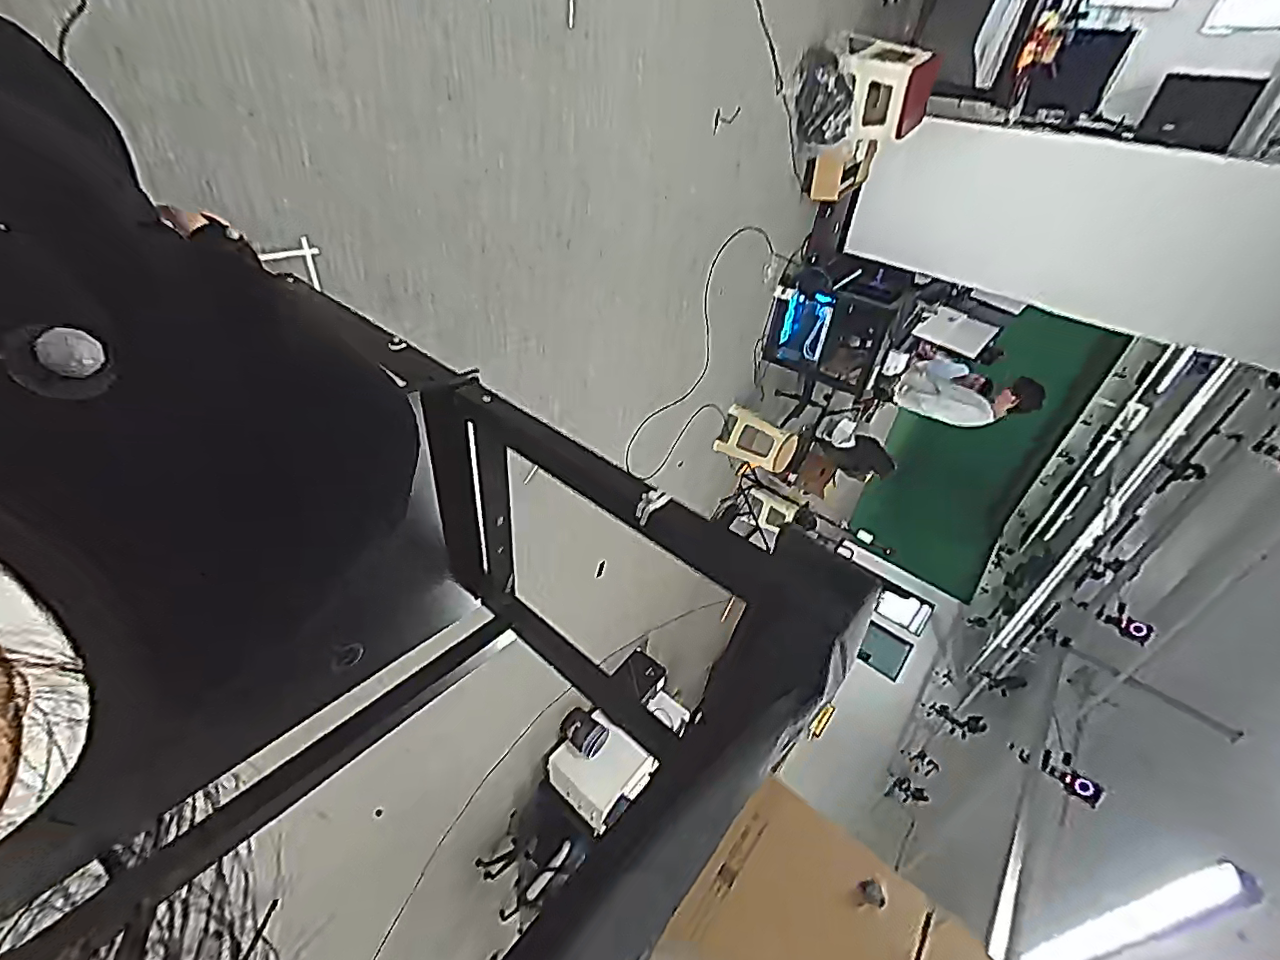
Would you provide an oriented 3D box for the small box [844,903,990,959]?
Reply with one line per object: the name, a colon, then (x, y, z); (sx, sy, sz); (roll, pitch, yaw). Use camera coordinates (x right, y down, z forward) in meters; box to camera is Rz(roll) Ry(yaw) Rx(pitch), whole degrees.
small box: (0.245, 0.498, 0.437); (0.168, 0.176, 0.179); (-34, 144, -41)
